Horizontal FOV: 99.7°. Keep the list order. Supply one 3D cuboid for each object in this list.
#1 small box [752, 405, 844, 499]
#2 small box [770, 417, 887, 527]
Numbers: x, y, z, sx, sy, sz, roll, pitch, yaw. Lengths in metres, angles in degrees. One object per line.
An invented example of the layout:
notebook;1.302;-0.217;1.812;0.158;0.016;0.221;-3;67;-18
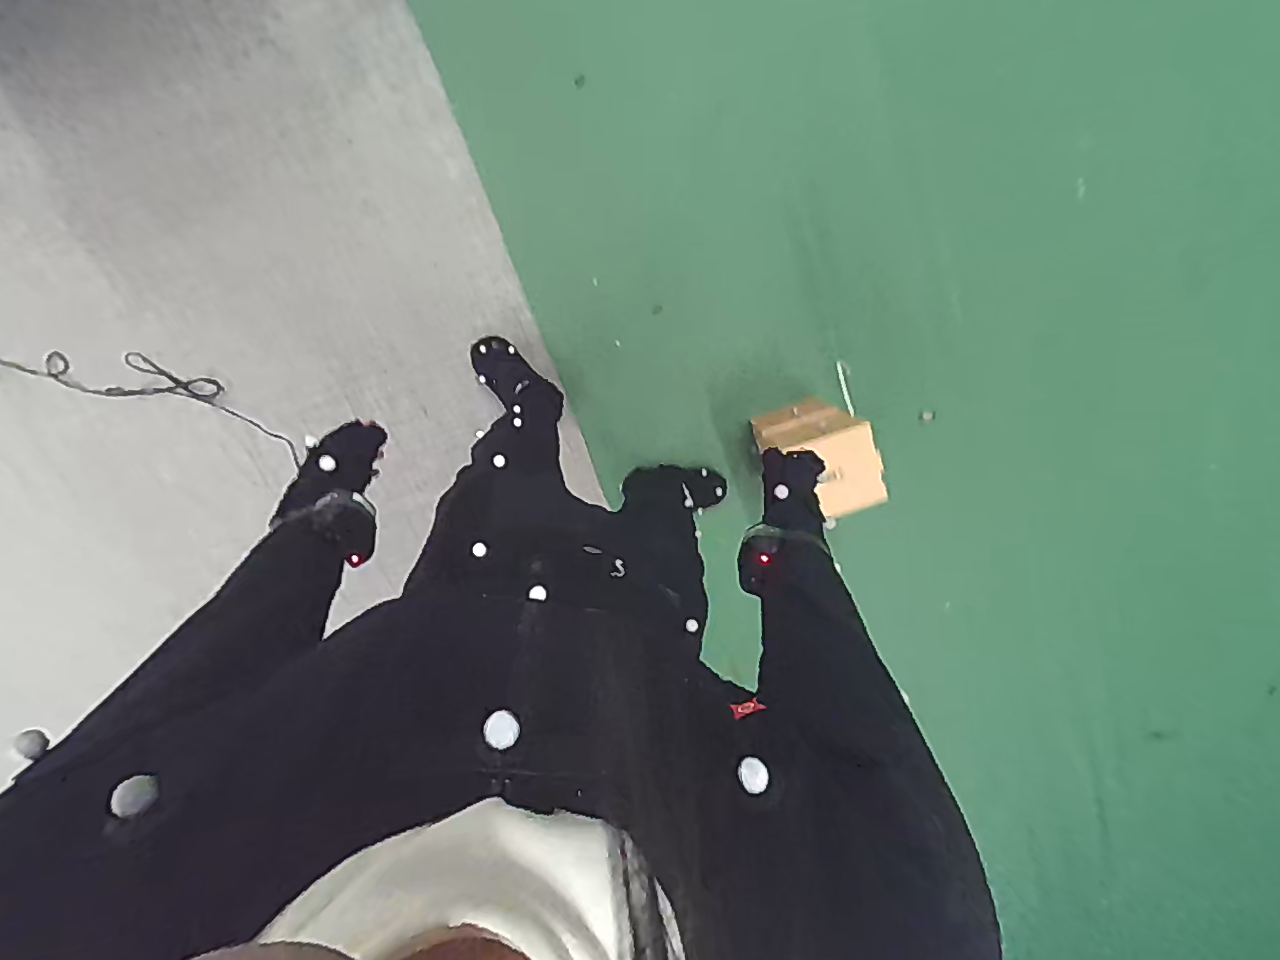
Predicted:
small box;0.381;-0.073;1.281;0.179;0.176;0.168;-16;103;6
small box;0.388;-0.026;1.144;0.179;0.176;0.168;-19;104;5
